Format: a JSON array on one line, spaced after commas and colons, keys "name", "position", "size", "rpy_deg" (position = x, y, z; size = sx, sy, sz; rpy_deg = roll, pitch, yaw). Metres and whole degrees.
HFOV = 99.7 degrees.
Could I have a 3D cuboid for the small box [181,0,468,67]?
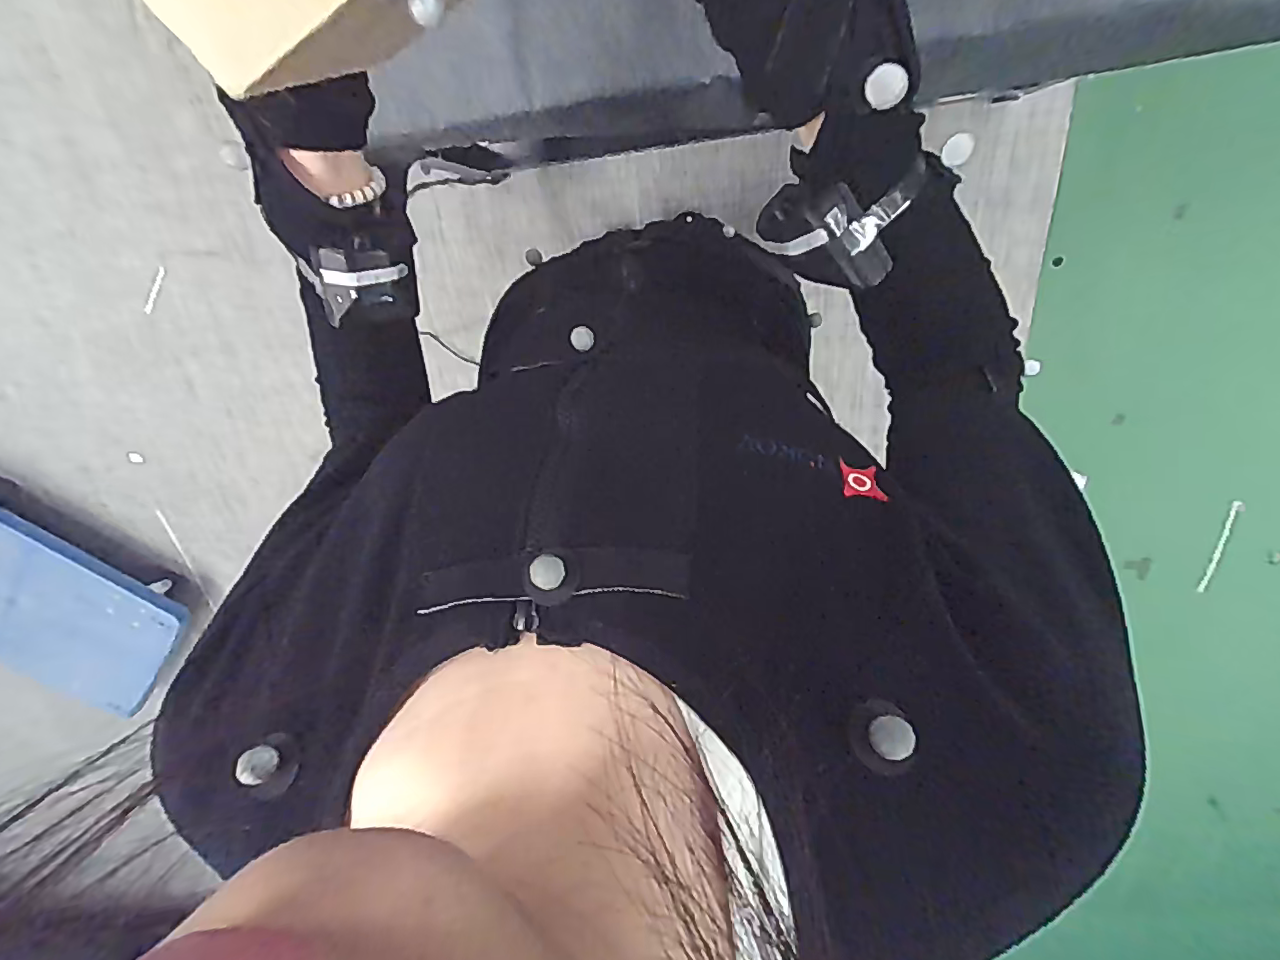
[{"name": "small box", "position": [-0.101, -0.266, 0.161], "size": [0.168, 0.176, 0.179], "rpy_deg": [-26, 128, 14]}]
